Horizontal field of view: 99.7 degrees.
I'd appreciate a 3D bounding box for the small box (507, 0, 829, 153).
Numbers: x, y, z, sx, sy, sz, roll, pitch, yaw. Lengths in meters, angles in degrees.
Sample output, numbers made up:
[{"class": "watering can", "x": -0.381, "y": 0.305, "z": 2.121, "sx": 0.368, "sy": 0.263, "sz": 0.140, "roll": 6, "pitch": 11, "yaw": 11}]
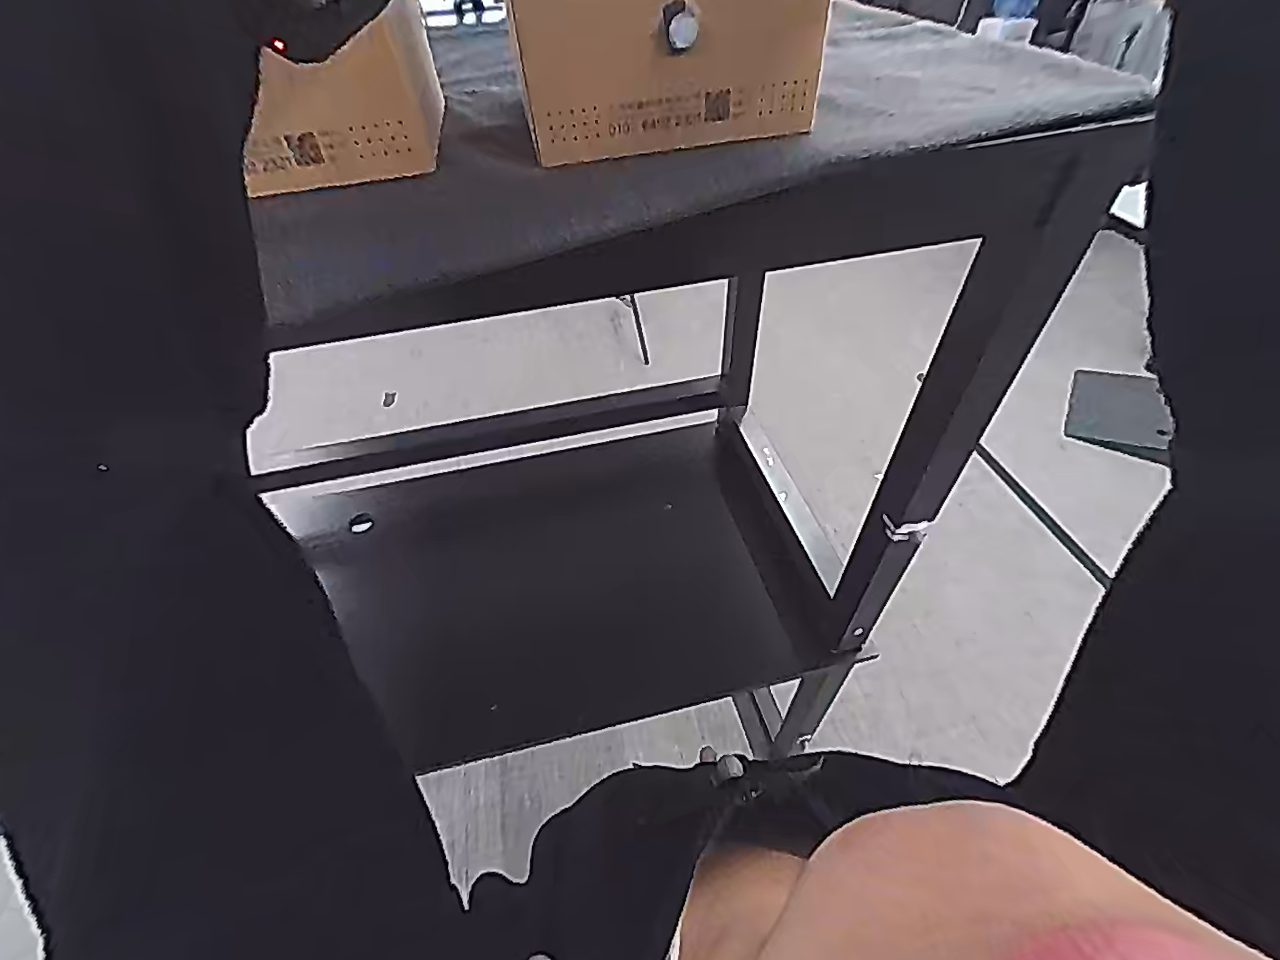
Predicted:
[{"class": "small box", "x": 0.002, "y": -0.311, "z": 0.311, "sx": 0.168, "sy": 0.176, "sz": 0.179, "roll": -12, "pitch": 48, "yaw": -5}]
